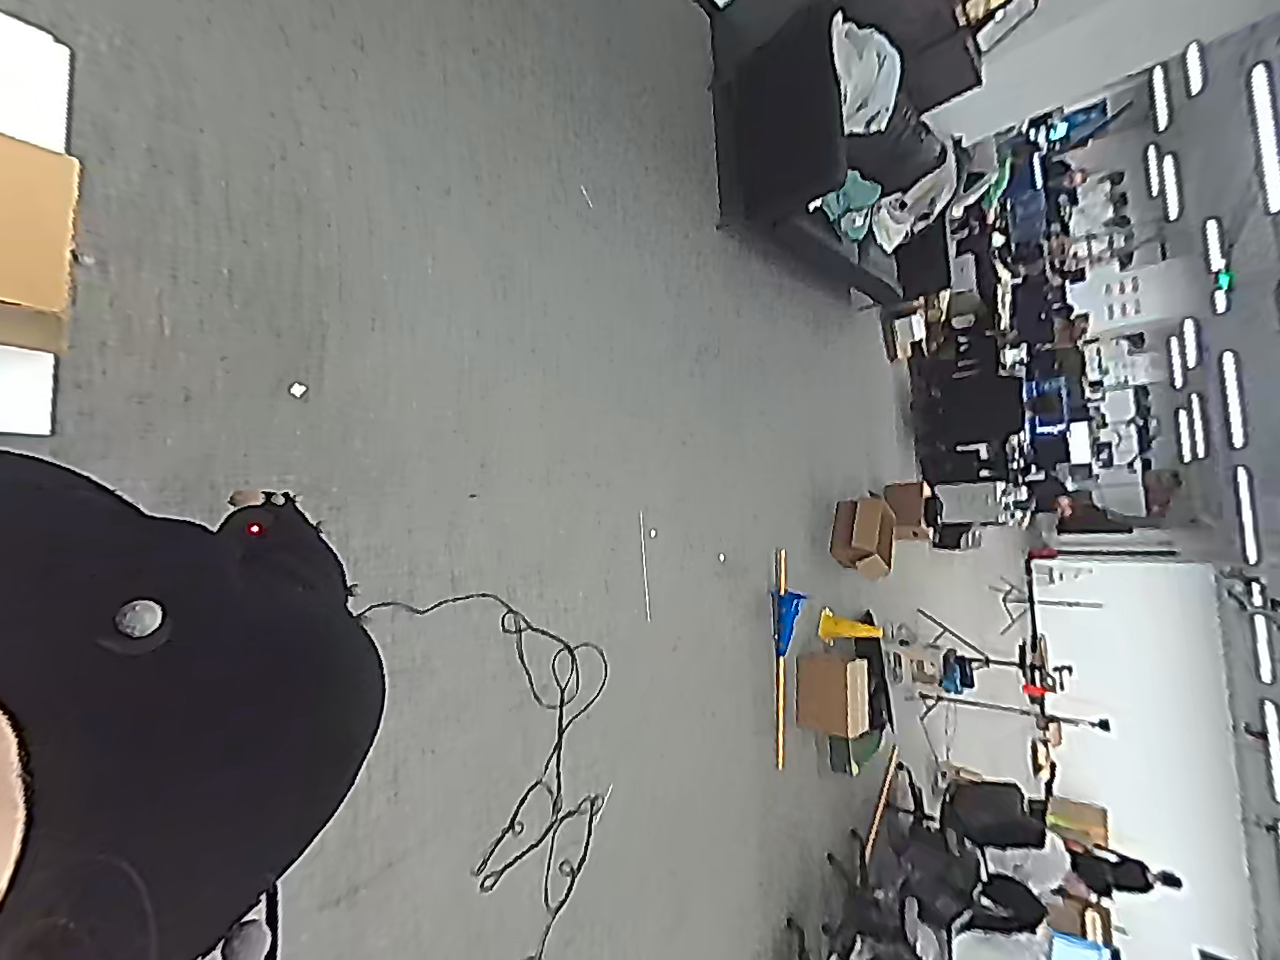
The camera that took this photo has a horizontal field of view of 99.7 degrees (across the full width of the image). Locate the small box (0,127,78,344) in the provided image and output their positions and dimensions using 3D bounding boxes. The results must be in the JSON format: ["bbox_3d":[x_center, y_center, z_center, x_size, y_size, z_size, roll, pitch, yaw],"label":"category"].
[{"bbox_3d":[-0.716,-0.261,0.562,0.168,0.176,0.179,6,82,-47],"label":"small box"}]
